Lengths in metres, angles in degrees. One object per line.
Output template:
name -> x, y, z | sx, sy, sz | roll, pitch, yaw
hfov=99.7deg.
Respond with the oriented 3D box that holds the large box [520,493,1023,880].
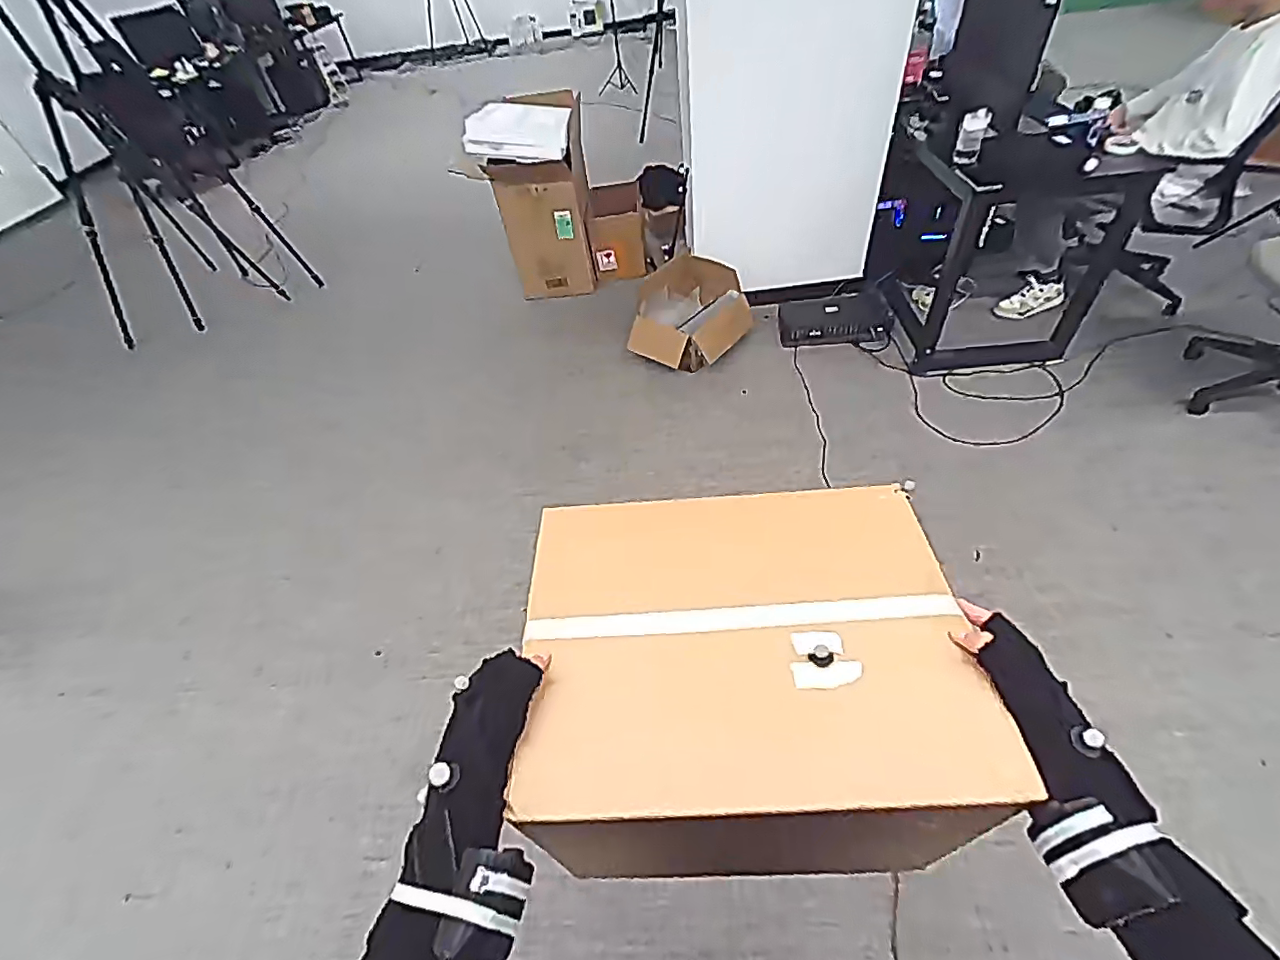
large box -> 0.107, 0.244, 0.630 | 0.408, 0.320, 0.320 | -4, 46, 3
